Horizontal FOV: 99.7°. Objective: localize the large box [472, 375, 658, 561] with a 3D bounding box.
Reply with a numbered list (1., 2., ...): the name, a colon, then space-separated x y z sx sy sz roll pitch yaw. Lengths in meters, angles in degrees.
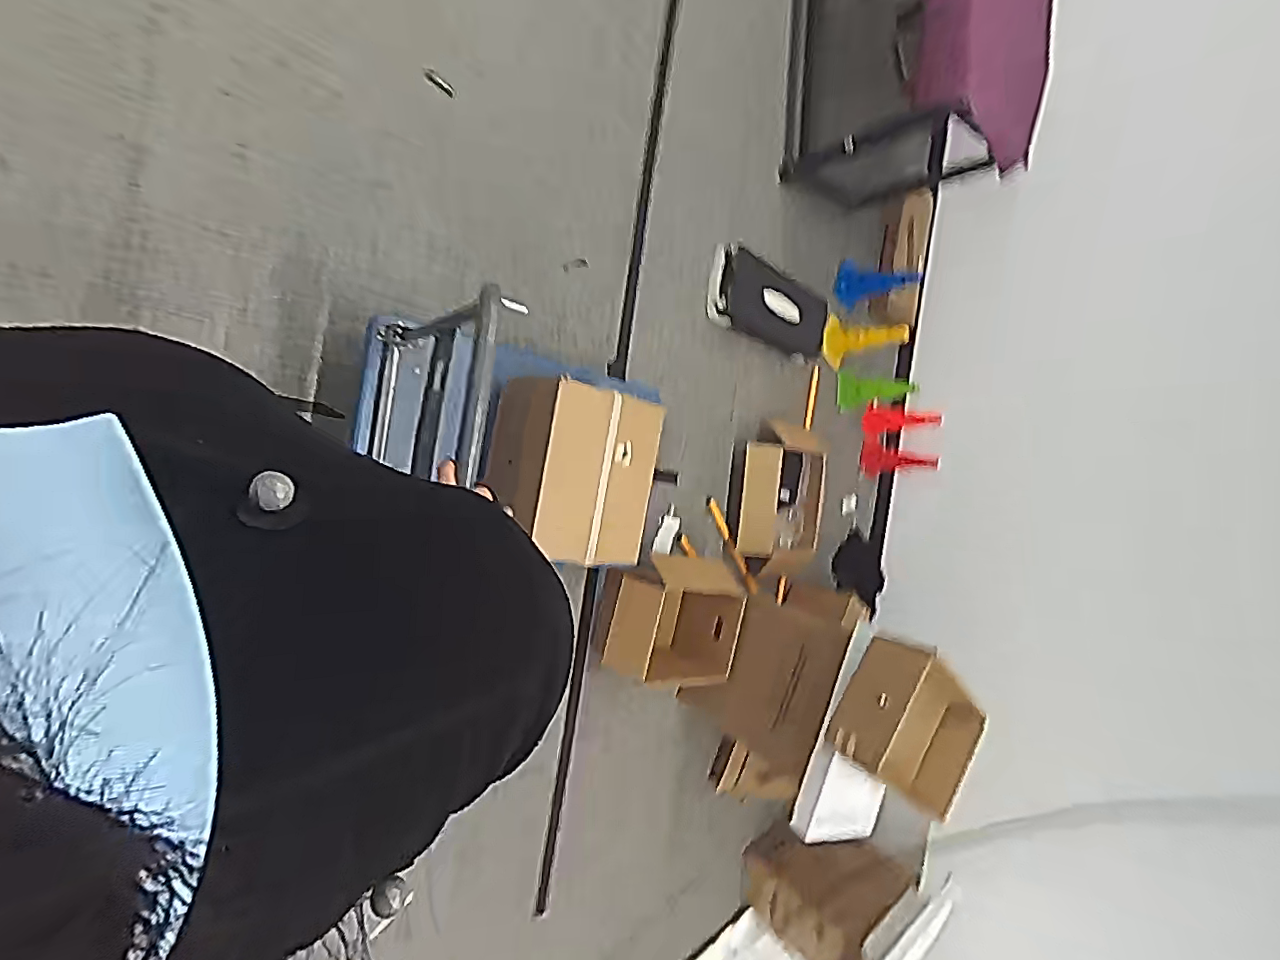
1. large box: -0.195 -0.024 1.366 0.320 0.320 0.408 11 88 -41
